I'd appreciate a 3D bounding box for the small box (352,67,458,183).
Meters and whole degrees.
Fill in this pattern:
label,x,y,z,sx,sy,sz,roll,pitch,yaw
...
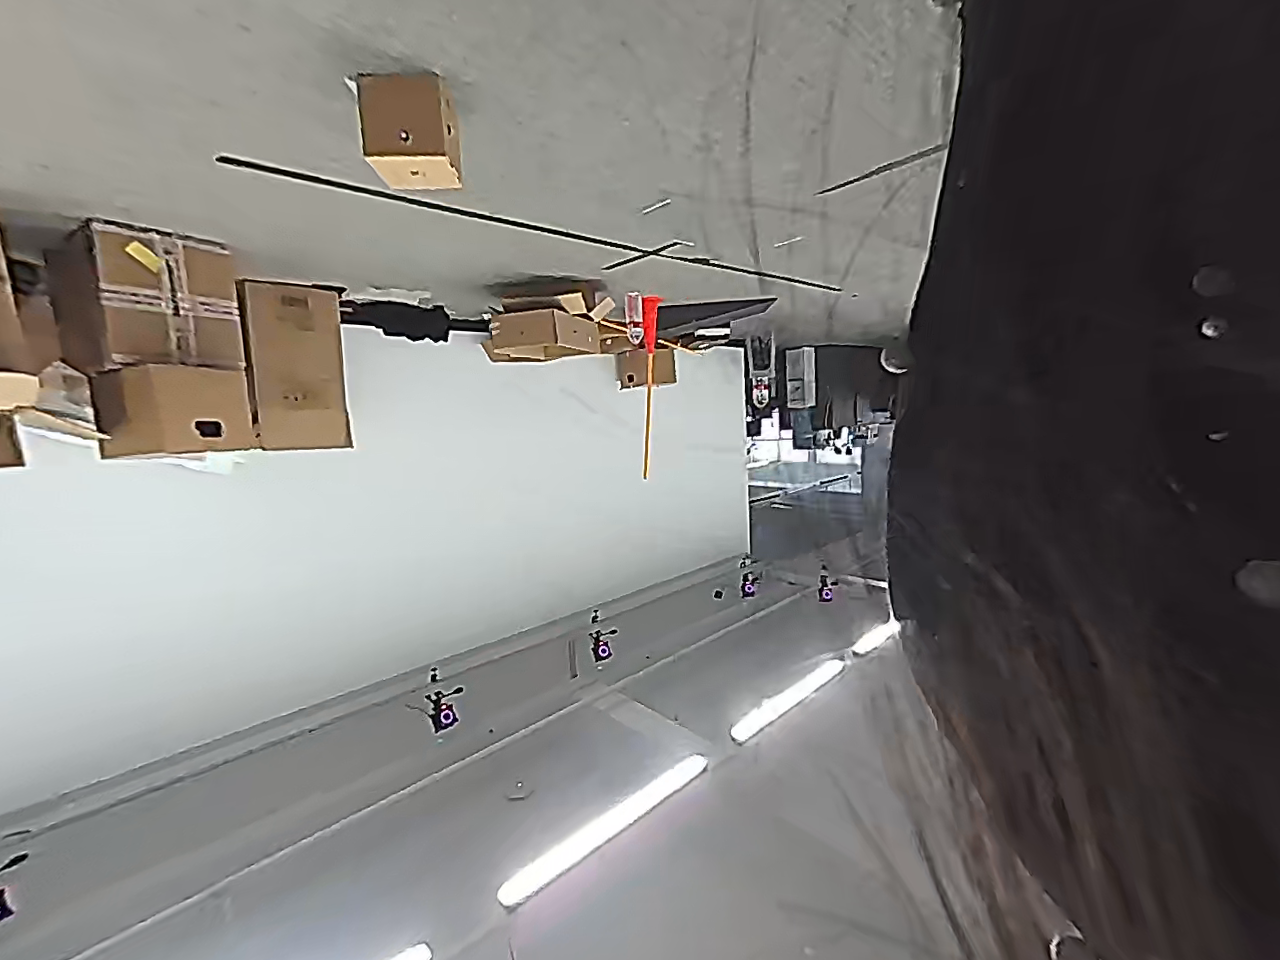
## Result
label,x,y,z,sx,sy,sz,roll,pitch,yaw
small box,-0.523,-0.794,1.219,0.179,0.176,0.168,-2,-174,-5
